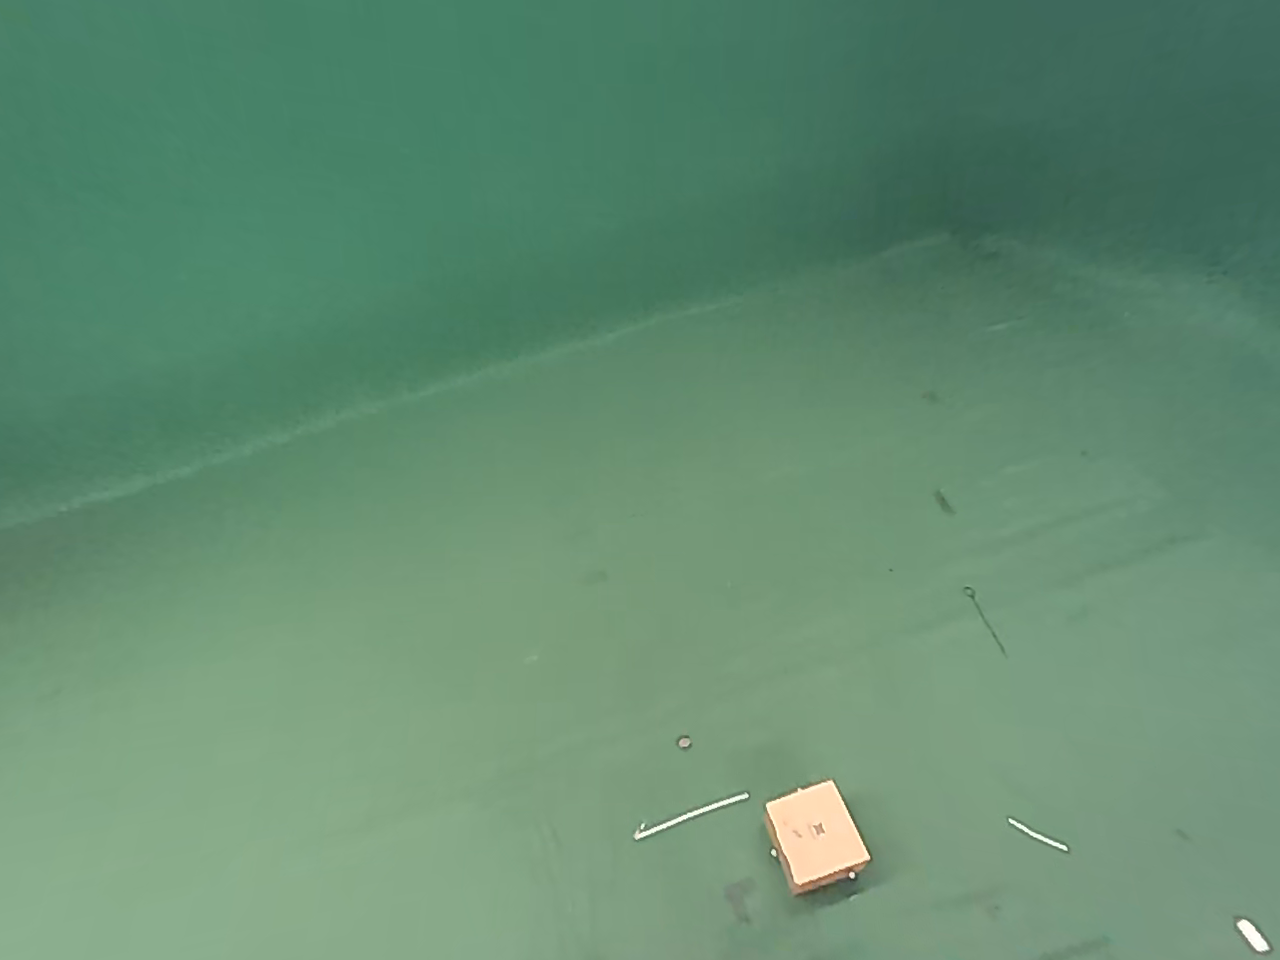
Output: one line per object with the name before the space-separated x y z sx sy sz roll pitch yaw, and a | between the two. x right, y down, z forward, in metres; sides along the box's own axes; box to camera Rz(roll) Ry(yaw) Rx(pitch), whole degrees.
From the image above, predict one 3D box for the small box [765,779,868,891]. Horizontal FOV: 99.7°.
small box | 0.407 0.842 1.280 0.179 0.176 0.168 -16 45 -4
